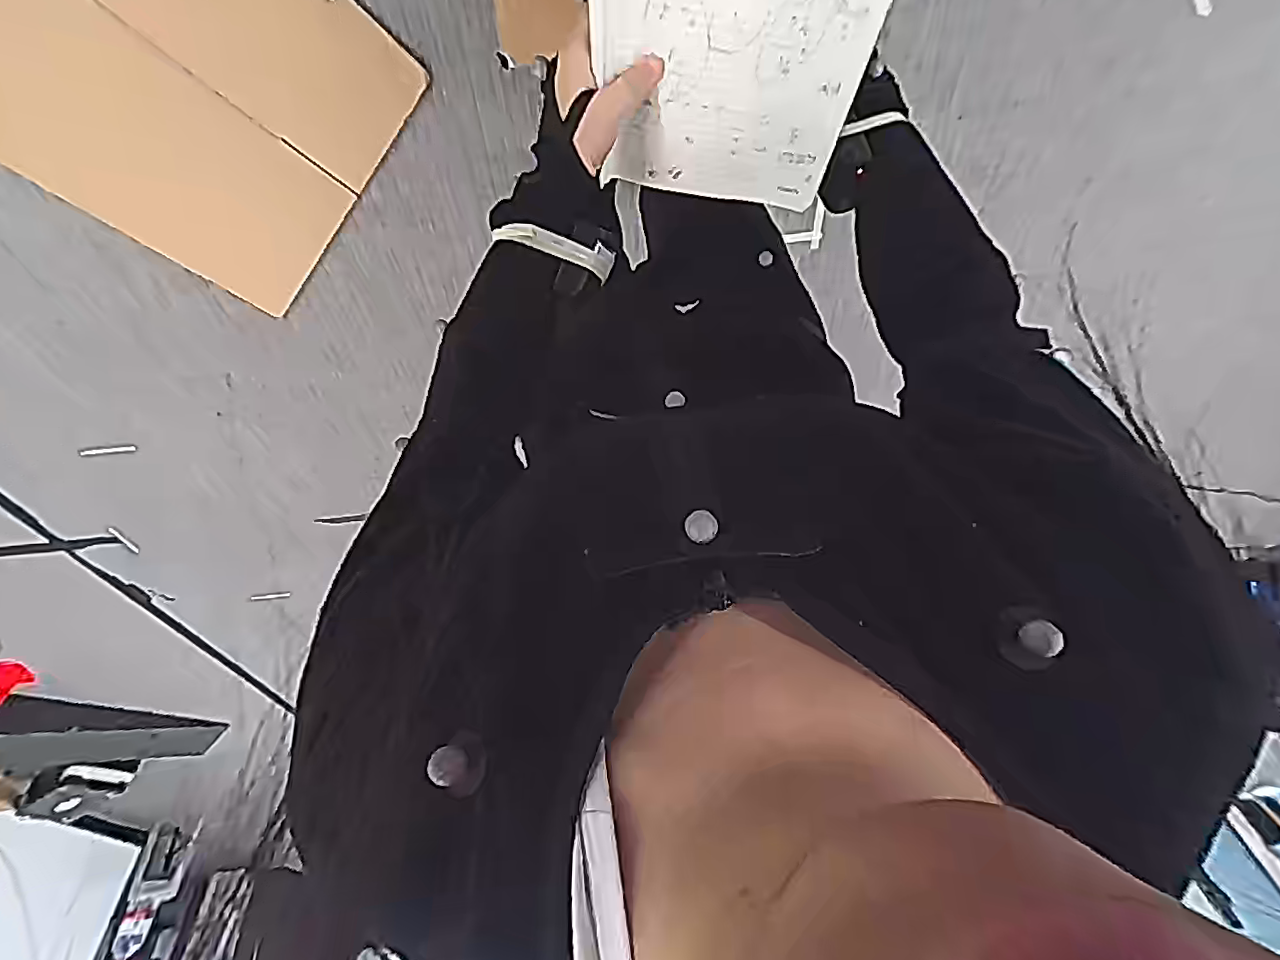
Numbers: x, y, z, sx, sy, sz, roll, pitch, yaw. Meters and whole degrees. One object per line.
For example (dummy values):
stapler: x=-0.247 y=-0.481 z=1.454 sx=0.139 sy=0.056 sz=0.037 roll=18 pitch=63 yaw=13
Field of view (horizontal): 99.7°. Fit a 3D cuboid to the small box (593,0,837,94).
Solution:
small box: x=0.045 y=-0.427 z=0.417 sx=0.168 sy=0.176 sz=0.179 roll=-12 pitch=135 yaw=-3
